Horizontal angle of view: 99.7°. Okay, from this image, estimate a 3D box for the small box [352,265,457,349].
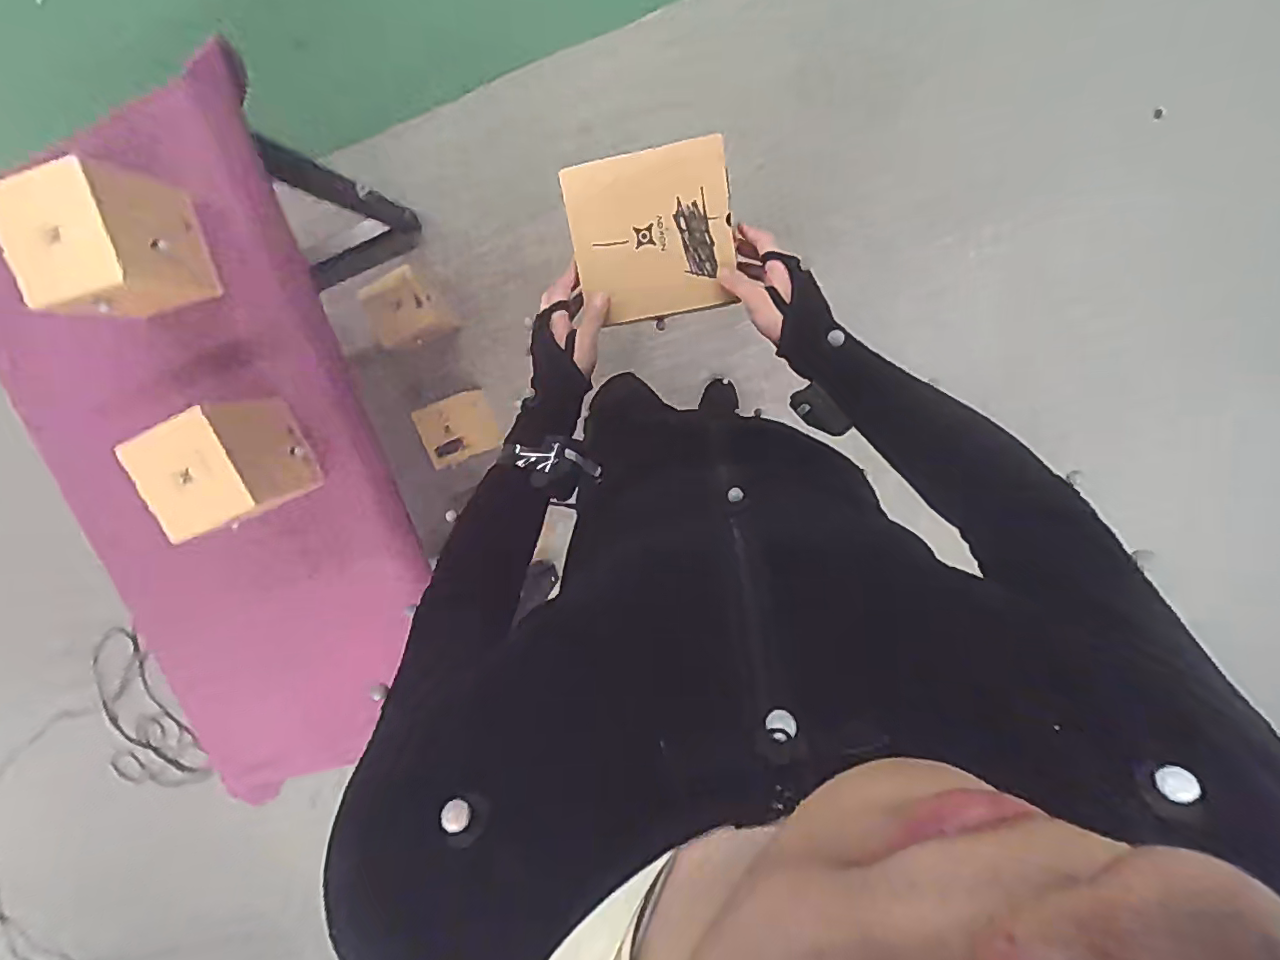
[{"bbox_3d":[-0.651,-0.475,1.515,0.179,0.176,0.168,-24,99,11],"label":"small box"}]

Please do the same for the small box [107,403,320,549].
[{"bbox_3d":[-0.672,-0.014,0.873,0.179,0.176,0.168,-22,100,11],"label":"small box"}]

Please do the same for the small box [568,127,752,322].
[{"bbox_3d":[0.028,-0.284,0.636,0.179,0.176,0.168,-7,106,7],"label":"small box"}]

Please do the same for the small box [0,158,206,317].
[{"bbox_3d":[-0.806,-0.349,0.813,0.179,0.176,0.168,-11,102,10],"label":"small box"}]
